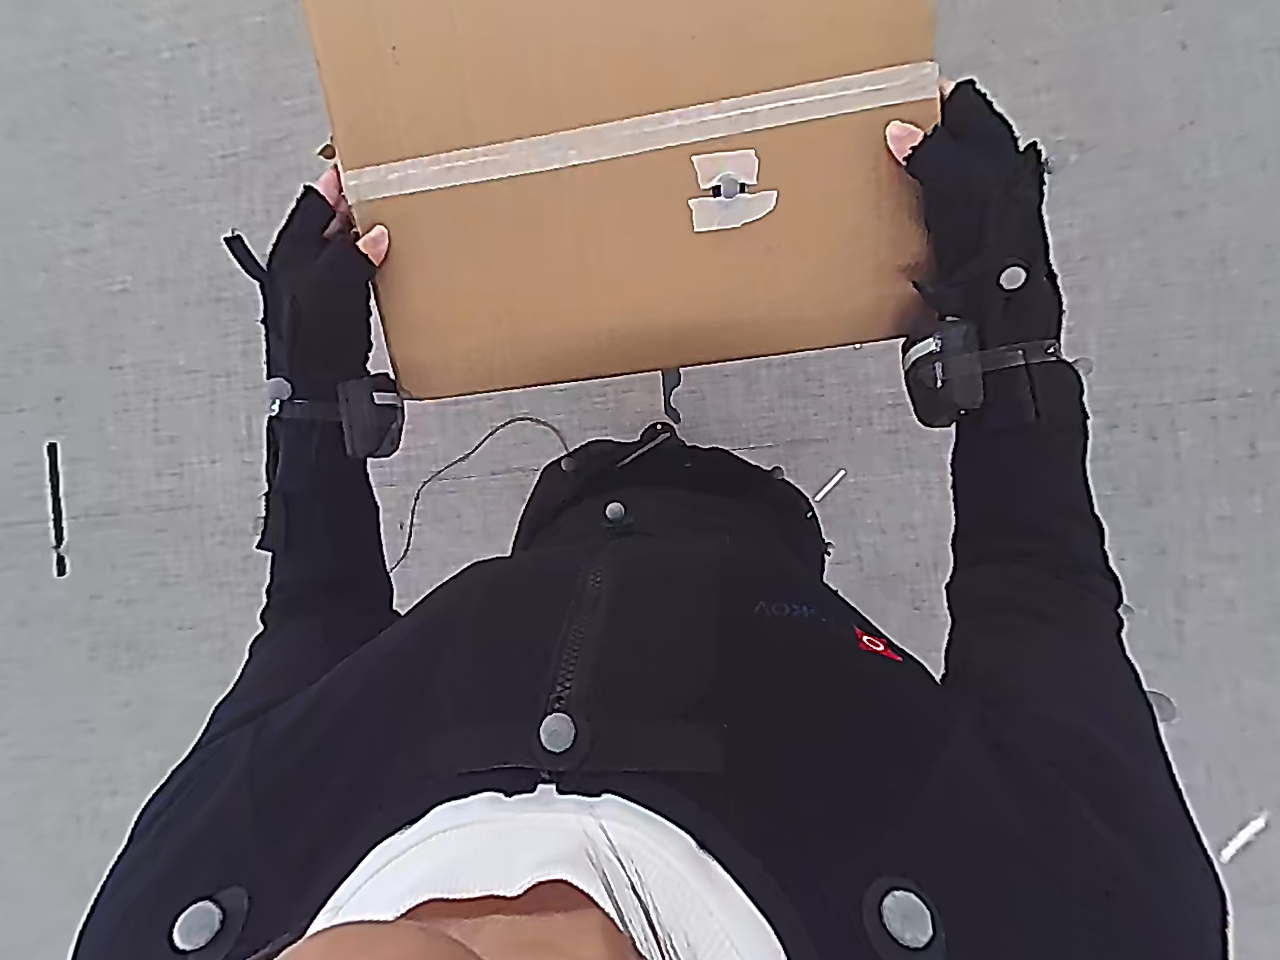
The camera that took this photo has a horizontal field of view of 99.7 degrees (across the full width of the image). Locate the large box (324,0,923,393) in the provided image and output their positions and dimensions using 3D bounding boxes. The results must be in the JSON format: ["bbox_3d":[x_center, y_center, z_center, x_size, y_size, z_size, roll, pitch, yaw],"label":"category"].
[{"bbox_3d":[0.001,-0.278,0.528,0.408,0.320,0.320,-7,105,6],"label":"large box"}]
